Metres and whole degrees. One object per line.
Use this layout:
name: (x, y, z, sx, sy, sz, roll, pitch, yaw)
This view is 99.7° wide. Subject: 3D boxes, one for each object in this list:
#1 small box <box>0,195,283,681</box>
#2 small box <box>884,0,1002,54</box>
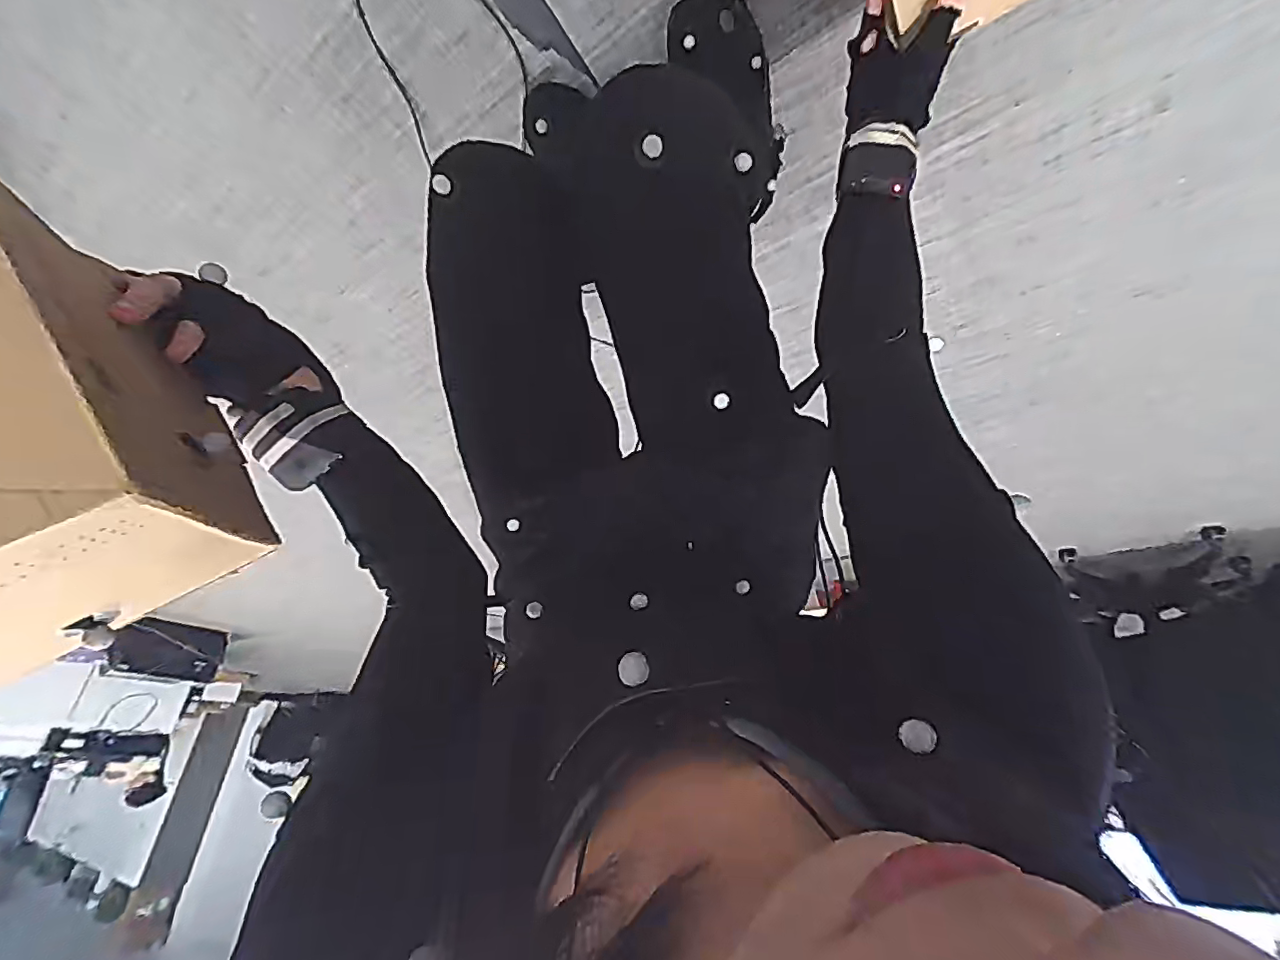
small box: (-0.311, -0.011, 0.236, 0.179, 0.168, 0.176, -31, 175, -21)
small box: (0.269, -0.519, 0.439, 0.168, 0.176, 0.179, -18, 145, 31)
